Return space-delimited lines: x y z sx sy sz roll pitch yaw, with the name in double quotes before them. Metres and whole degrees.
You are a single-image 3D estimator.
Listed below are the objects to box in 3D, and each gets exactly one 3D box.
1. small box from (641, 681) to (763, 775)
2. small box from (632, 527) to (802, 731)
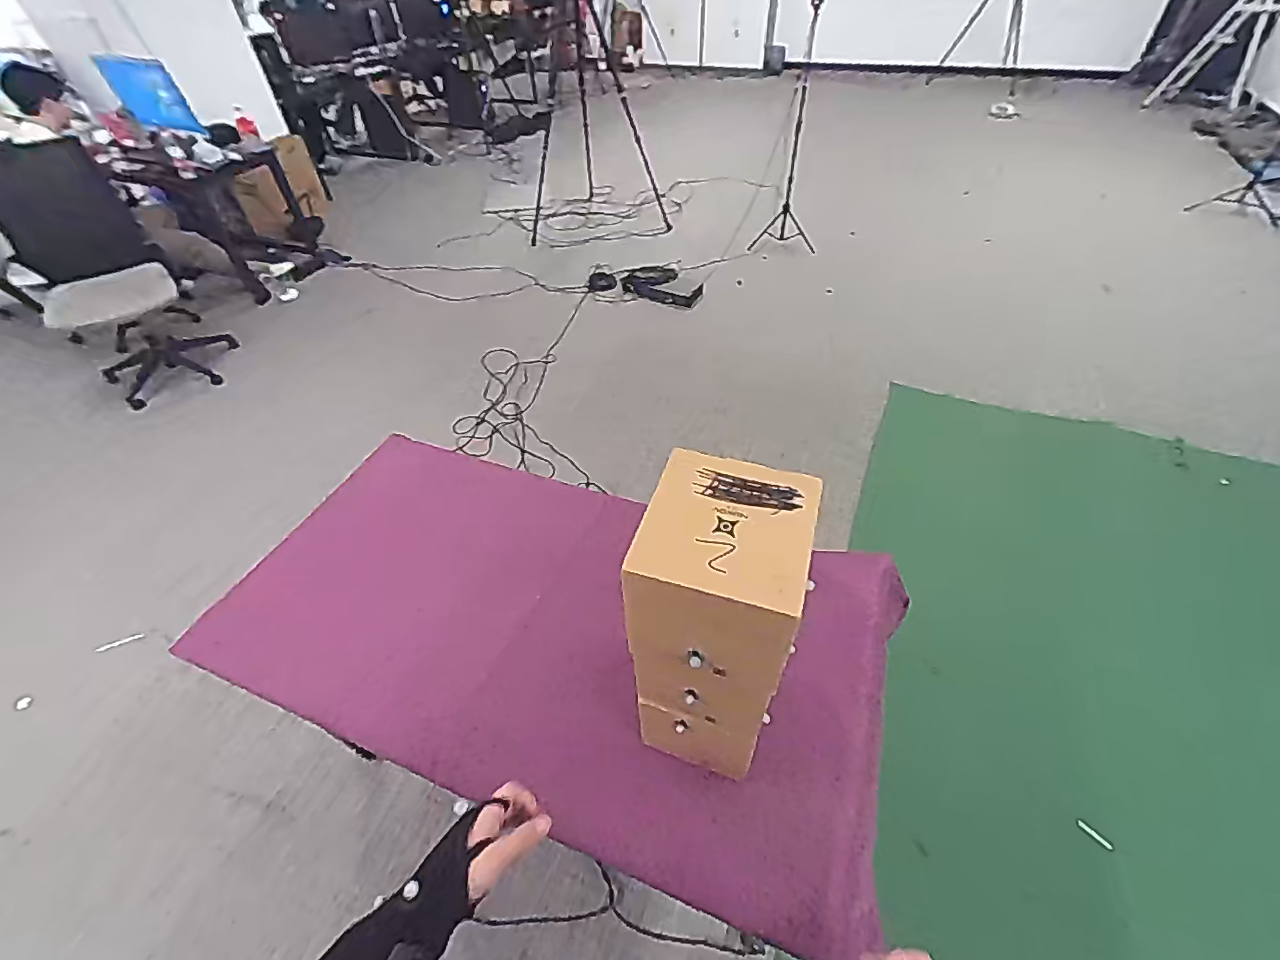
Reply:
"small box" 0.109 0.314 0.829 0.168 0.176 0.179 13 48 17
"small box" 0.102 0.197 0.711 0.168 0.176 0.179 16 49 17
